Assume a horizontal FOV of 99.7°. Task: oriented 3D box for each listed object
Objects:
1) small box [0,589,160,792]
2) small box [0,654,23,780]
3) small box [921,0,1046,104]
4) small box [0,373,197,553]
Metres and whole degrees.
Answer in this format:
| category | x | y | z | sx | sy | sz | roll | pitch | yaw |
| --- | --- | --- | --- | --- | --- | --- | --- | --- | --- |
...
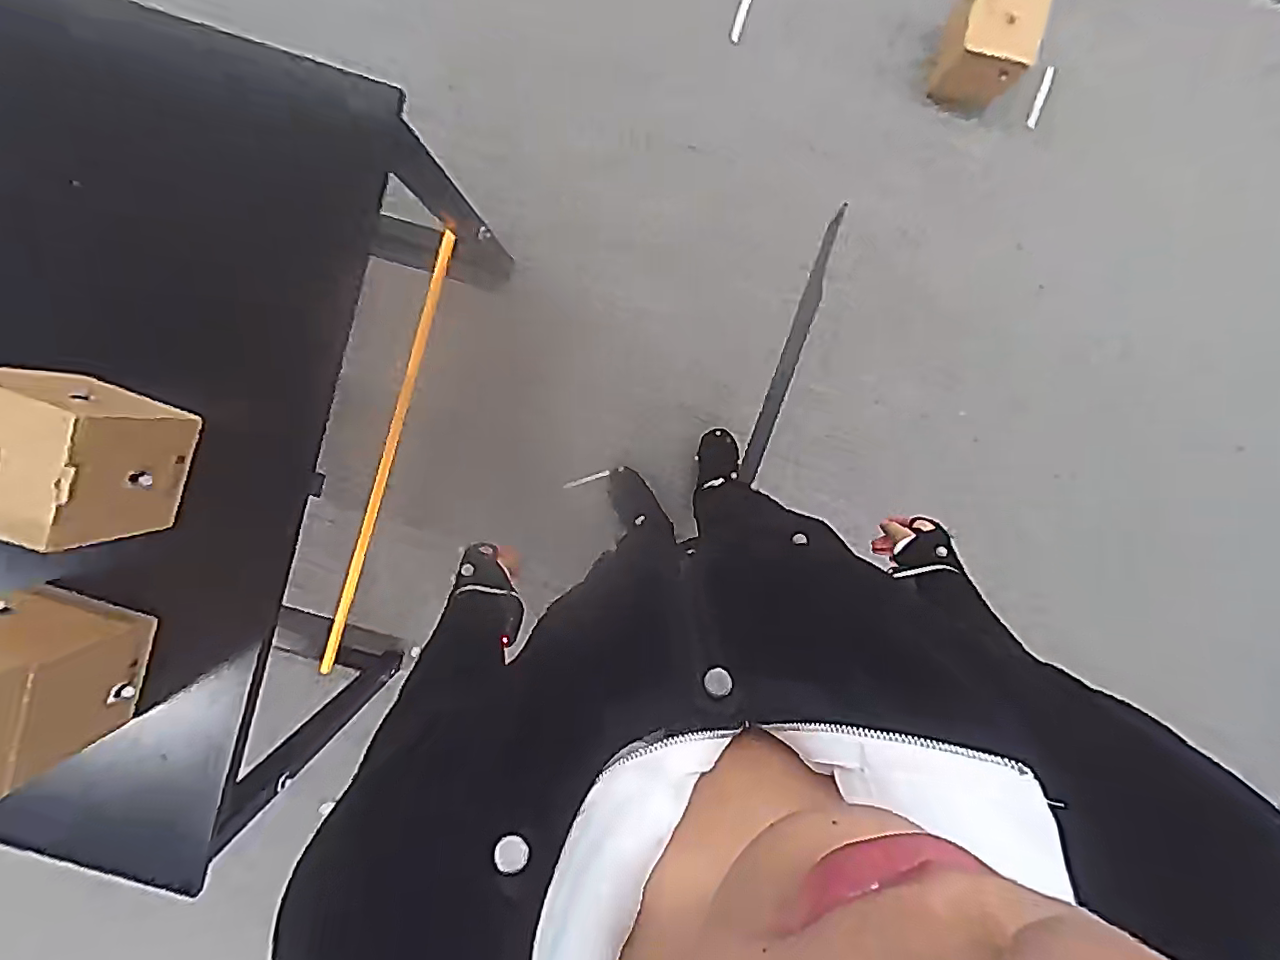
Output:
| category | x | y | z | sx | sy | sz | roll | pitch | yaw |
| --- | --- | --- | --- | --- | --- | --- | --- | --- | --- |
| small box | -0.793 | 0.256 | 0.701 | 0.179 | 0.176 | 0.168 | 17 | 96 | -2 |
| small box | -0.791 | 0.272 | 0.537 | 0.168 | 0.176 | 0.179 | 16 | 95 | -1 |
| small box | 0.826 | -1.056 | 1.312 | 0.179 | 0.176 | 0.168 | 11 | 95 | -2 |
| small box | -0.712 | -0.030 | 0.673 | 0.179 | 0.176 | 0.168 | 20 | 95 | -2 |
